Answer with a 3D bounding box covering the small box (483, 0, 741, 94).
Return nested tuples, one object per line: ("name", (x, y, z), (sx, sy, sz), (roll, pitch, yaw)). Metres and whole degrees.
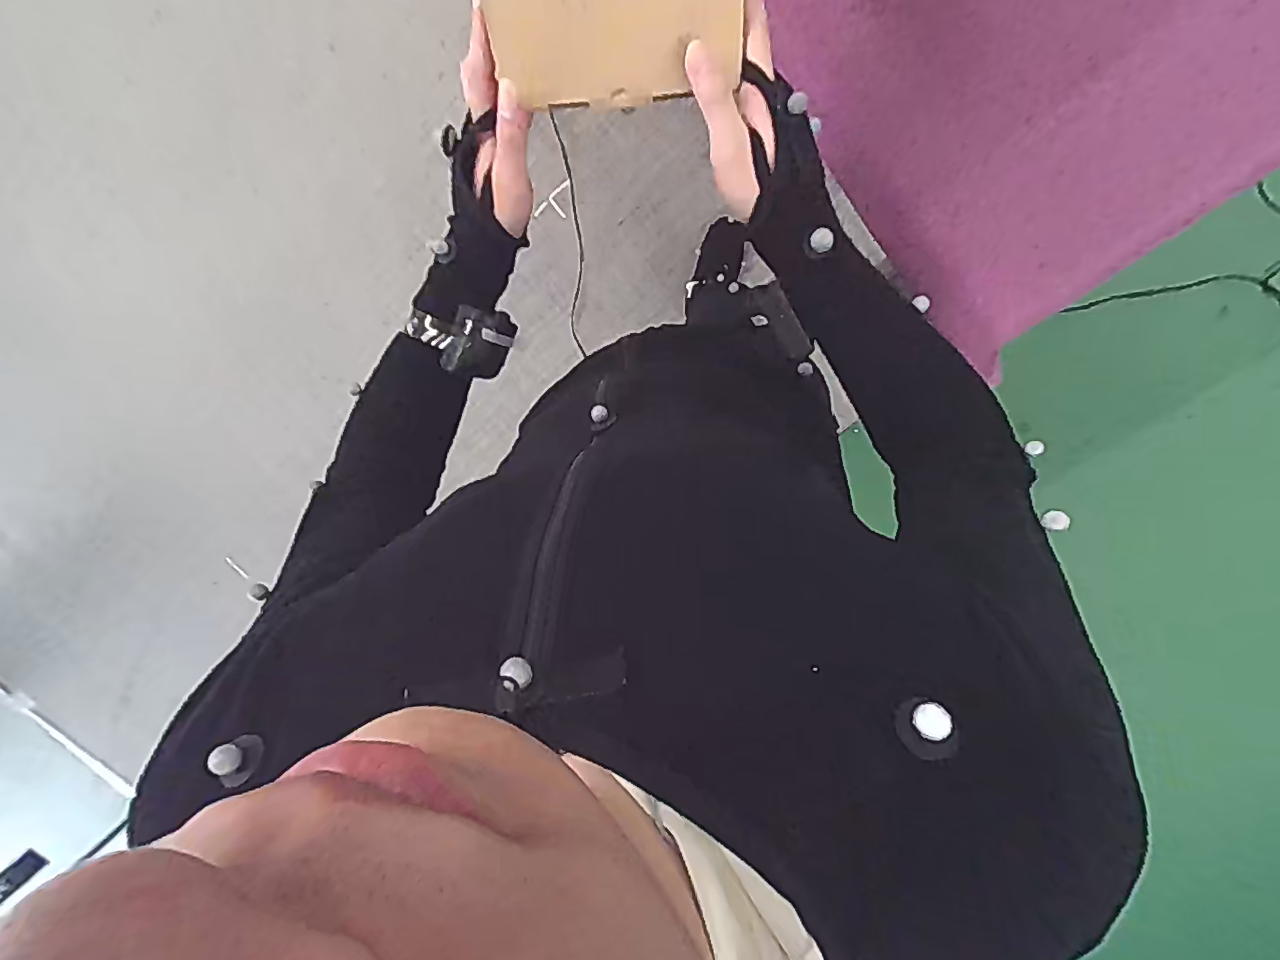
("small box", (-0.016, -0.386, 0.367), (0.168, 0.176, 0.179), (-2, 132, 4))
